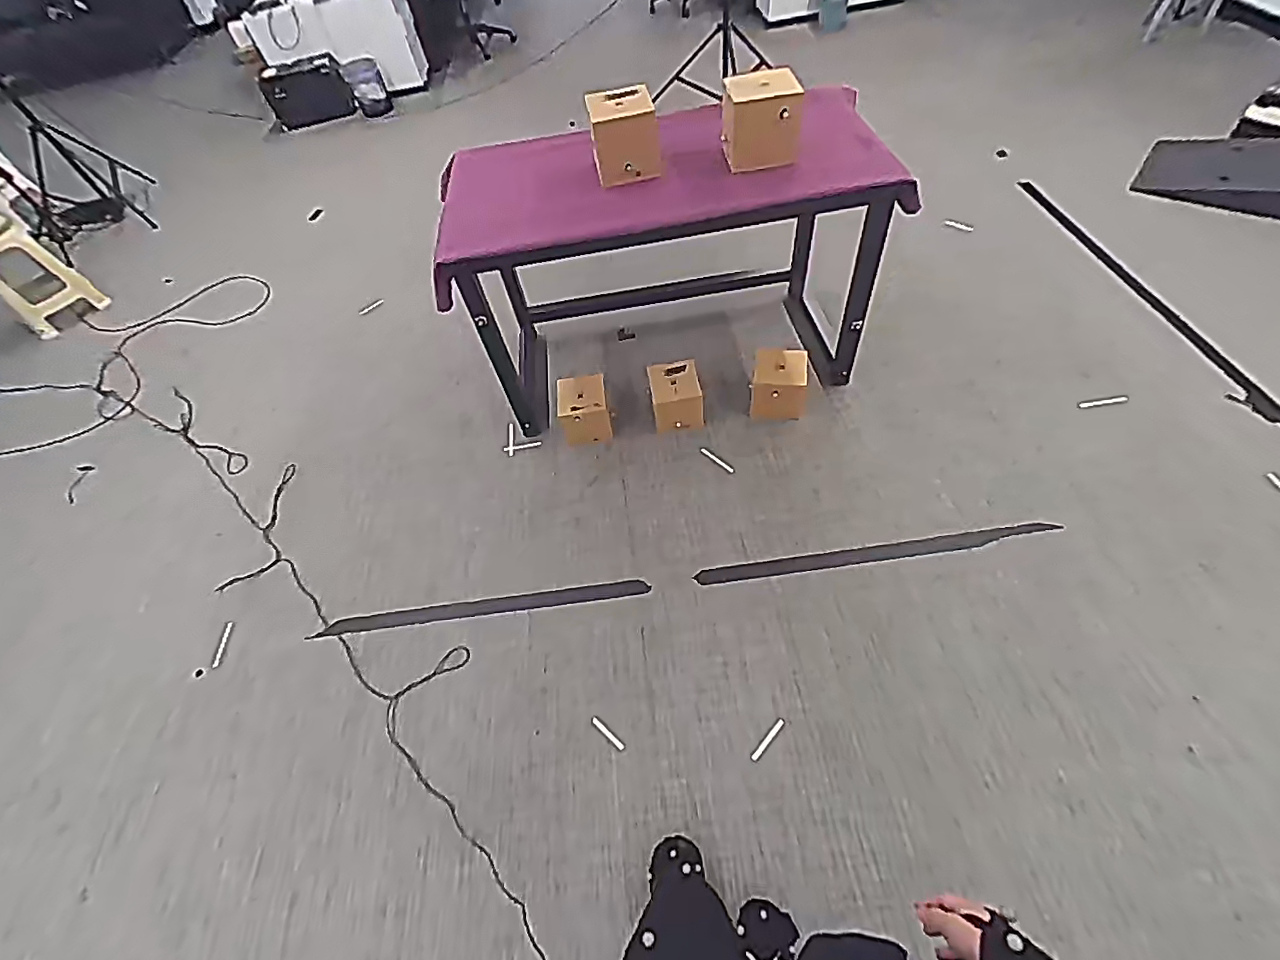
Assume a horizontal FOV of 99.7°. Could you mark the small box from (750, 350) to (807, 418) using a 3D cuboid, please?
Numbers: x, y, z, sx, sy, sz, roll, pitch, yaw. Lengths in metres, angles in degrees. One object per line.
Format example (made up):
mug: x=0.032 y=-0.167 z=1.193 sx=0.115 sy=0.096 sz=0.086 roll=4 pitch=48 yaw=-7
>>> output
small box: x=0.477 y=-0.329 z=1.867 sx=0.179 sy=0.176 sz=0.168 roll=4 pitch=56 yaw=13

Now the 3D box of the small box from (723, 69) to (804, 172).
small box: x=0.316 y=-0.942 z=1.423 sx=0.179 sy=0.176 sz=0.168 roll=-8 pitch=53 yaw=3

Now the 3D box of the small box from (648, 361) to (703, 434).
small box: x=0.124 y=-0.285 z=1.887 sx=0.168 sy=0.176 sz=0.179 roll=-10 pitch=55 yaw=2

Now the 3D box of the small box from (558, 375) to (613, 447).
small box: x=-0.190 y=-0.240 z=1.902 sx=0.168 sy=0.176 sz=0.179 roll=-7 pitch=53 yaw=3
